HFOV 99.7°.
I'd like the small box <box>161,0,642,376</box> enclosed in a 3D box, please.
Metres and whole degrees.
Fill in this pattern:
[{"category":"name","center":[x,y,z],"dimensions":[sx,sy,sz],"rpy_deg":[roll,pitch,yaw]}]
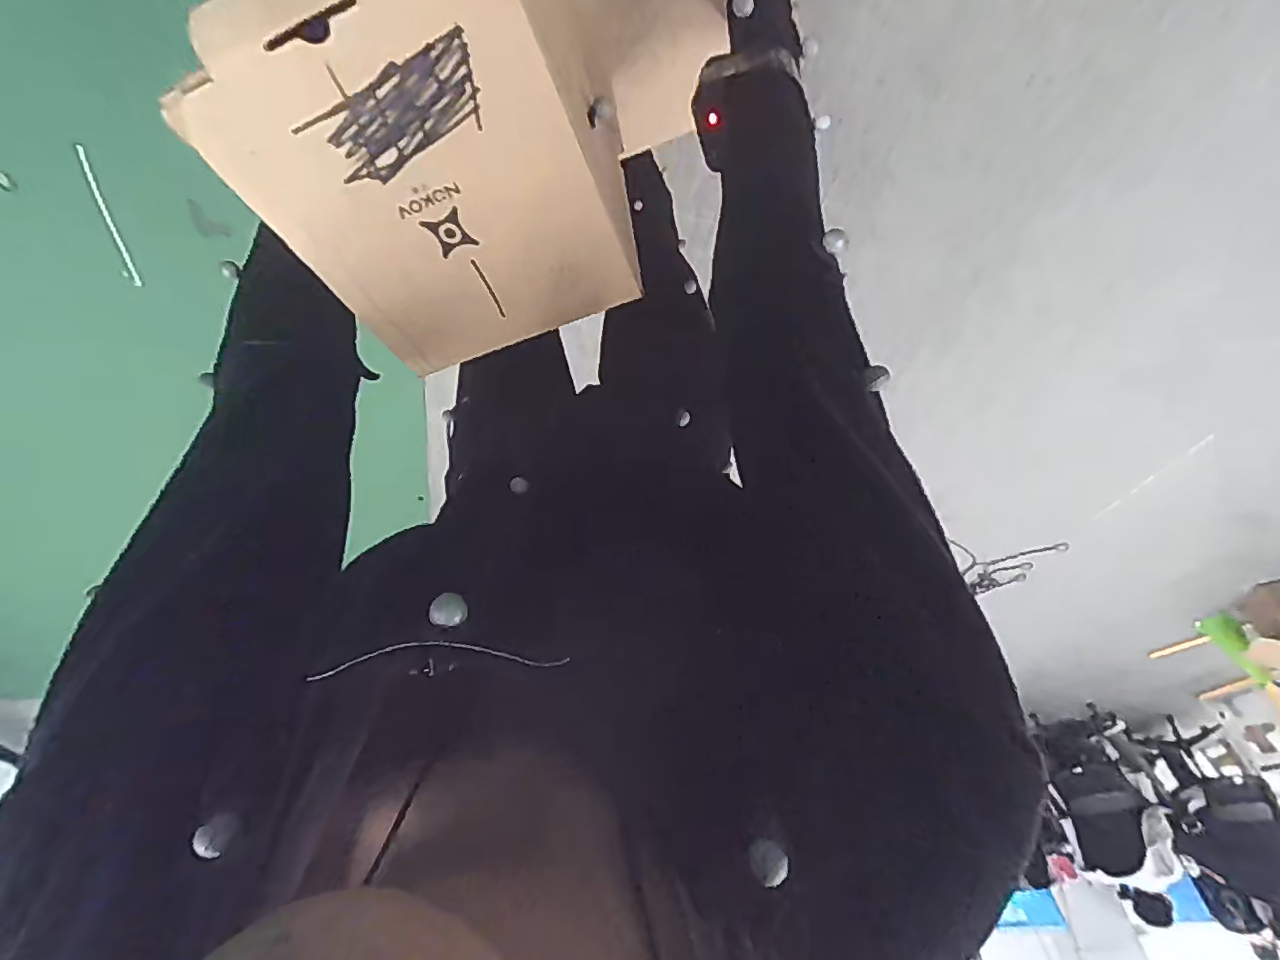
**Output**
[{"category":"small box","center":[-0.110,-0.201,0.326],"dimensions":[0.168,0.176,0.179],"rpy_deg":[-16,143,13]}]
